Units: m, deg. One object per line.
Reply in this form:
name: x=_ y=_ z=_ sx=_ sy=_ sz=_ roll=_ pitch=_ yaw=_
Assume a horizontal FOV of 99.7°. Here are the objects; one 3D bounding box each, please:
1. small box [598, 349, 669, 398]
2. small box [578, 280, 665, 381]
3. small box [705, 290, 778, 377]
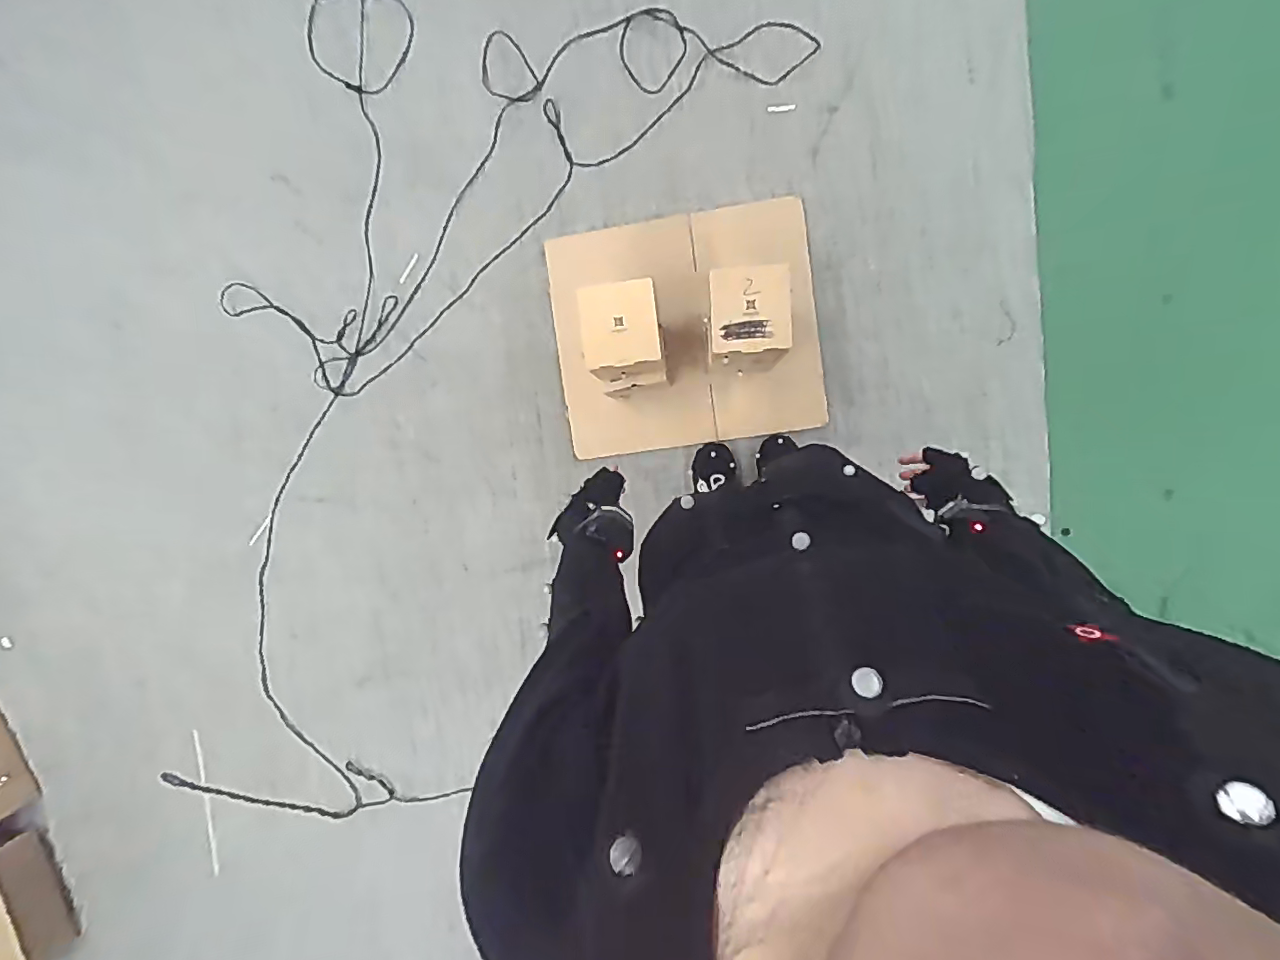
small box: x=-0.021 y=-0.311 z=1.389 sx=0.168 sy=0.176 sz=0.179 roll=-10 pitch=92 yaw=6
small box: x=-0.036 y=-0.330 z=1.226 sx=0.168 sy=0.176 sz=0.179 roll=-7 pitch=92 yaw=6
small box: x=0.251 y=-0.363 z=1.361 sx=0.168 sy=0.176 sz=0.179 roll=-3 pitch=94 yaw=7
